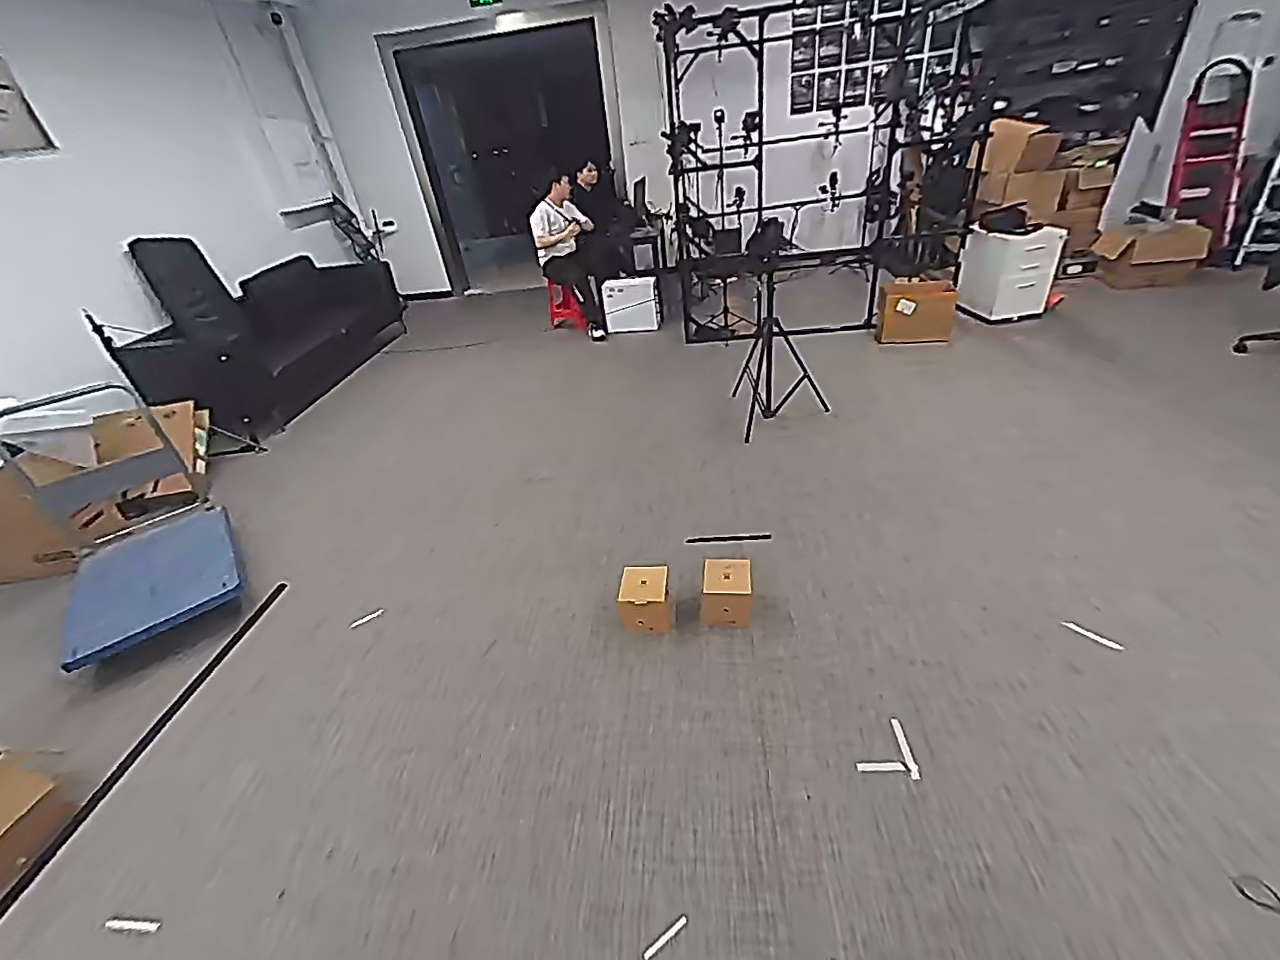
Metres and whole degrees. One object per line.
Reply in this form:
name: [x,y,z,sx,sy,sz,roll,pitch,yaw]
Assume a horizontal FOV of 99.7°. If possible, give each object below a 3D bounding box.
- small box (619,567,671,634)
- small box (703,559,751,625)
small box: [0.024,0.442,1.990,0.168,0.176,0.179,-3,34,9]
small box: [0.320,0.409,1.970,0.168,0.176,0.179,-1,34,10]
